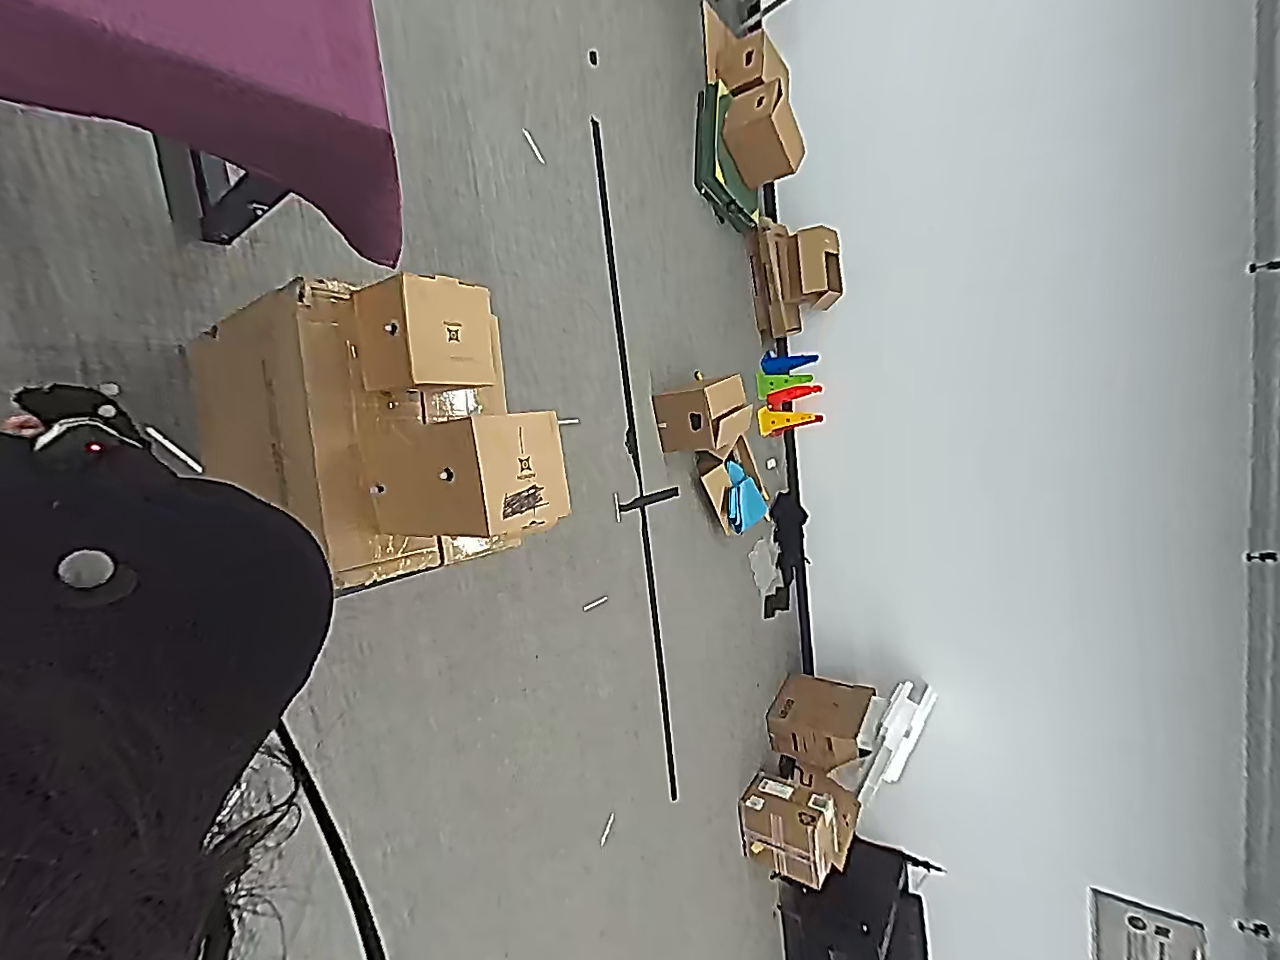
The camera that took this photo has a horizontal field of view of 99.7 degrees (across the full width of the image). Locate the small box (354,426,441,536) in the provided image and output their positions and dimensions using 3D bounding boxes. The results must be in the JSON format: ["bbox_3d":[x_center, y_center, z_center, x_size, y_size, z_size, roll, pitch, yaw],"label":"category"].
[{"bbox_3d":[-0.375,-0.011,0.961,0.168,0.176,0.179,-22,106,-51],"label":"small box"}]

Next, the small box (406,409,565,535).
[{"bbox_3d":[-0.245,-0.016,0.860,0.168,0.176,0.179,-13,98,-52],"label":"small box"}]
